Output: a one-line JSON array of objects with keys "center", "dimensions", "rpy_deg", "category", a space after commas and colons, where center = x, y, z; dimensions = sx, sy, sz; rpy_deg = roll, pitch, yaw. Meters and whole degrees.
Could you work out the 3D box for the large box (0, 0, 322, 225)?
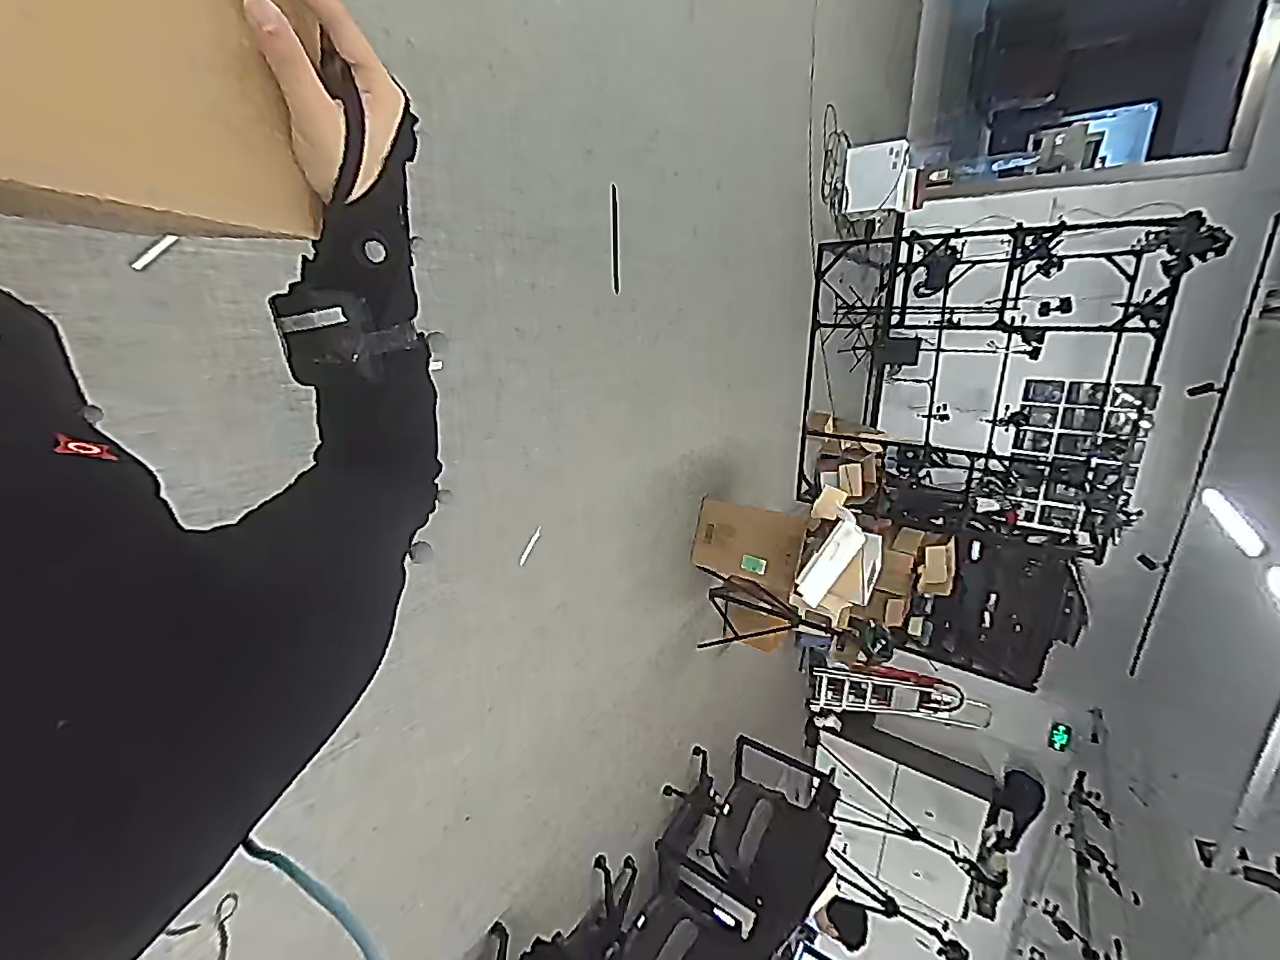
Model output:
[{"center": [-0.418, -0.306, 0.214], "dimensions": [0.408, 0.320, 0.320], "rpy_deg": [-17, 119, -55], "category": "large box"}]
